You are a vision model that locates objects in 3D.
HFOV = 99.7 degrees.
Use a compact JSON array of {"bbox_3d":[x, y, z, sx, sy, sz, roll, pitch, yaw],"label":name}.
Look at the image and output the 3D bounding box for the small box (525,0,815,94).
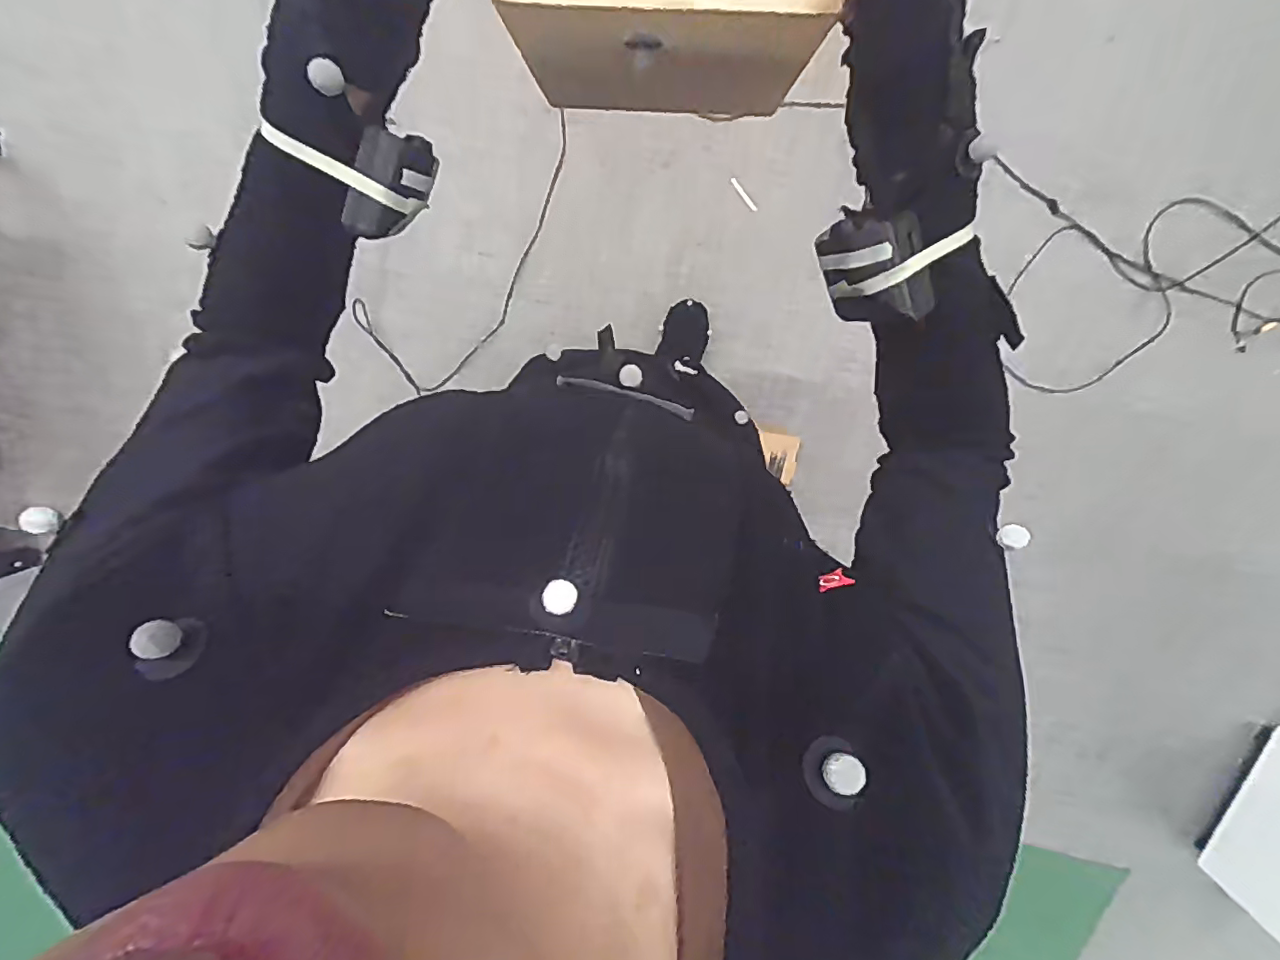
[{"bbox_3d":[0.018,-0.347,0.312,0.179,0.176,0.168,2,110,0],"label":"small box"}]
